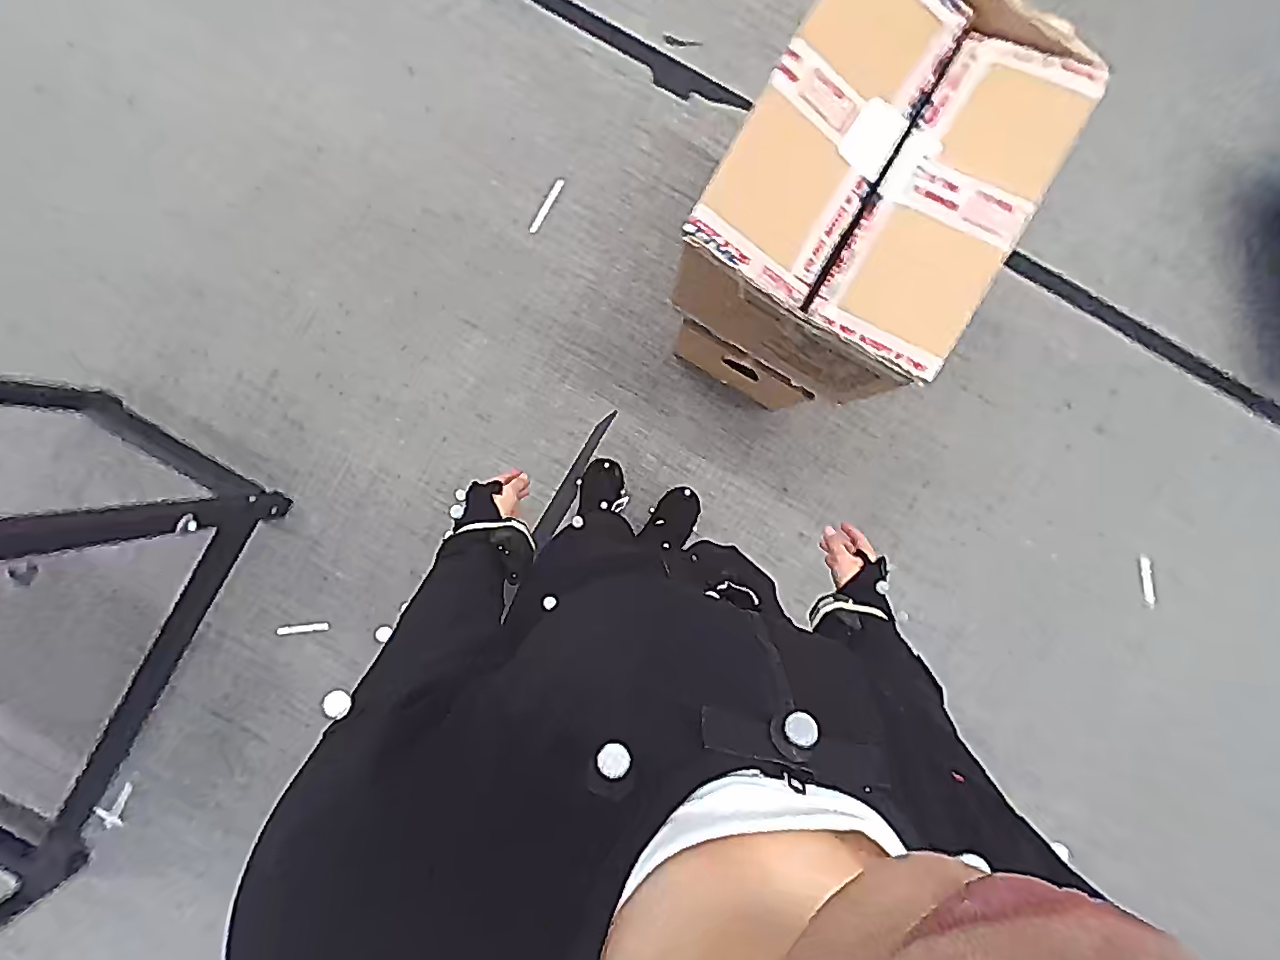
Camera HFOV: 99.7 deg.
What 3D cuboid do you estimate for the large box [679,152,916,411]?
[{"bbox_3d":[0.323,-0.410,1.221,0.320,0.320,0.408,30,93,0],"label":"large box"}]
